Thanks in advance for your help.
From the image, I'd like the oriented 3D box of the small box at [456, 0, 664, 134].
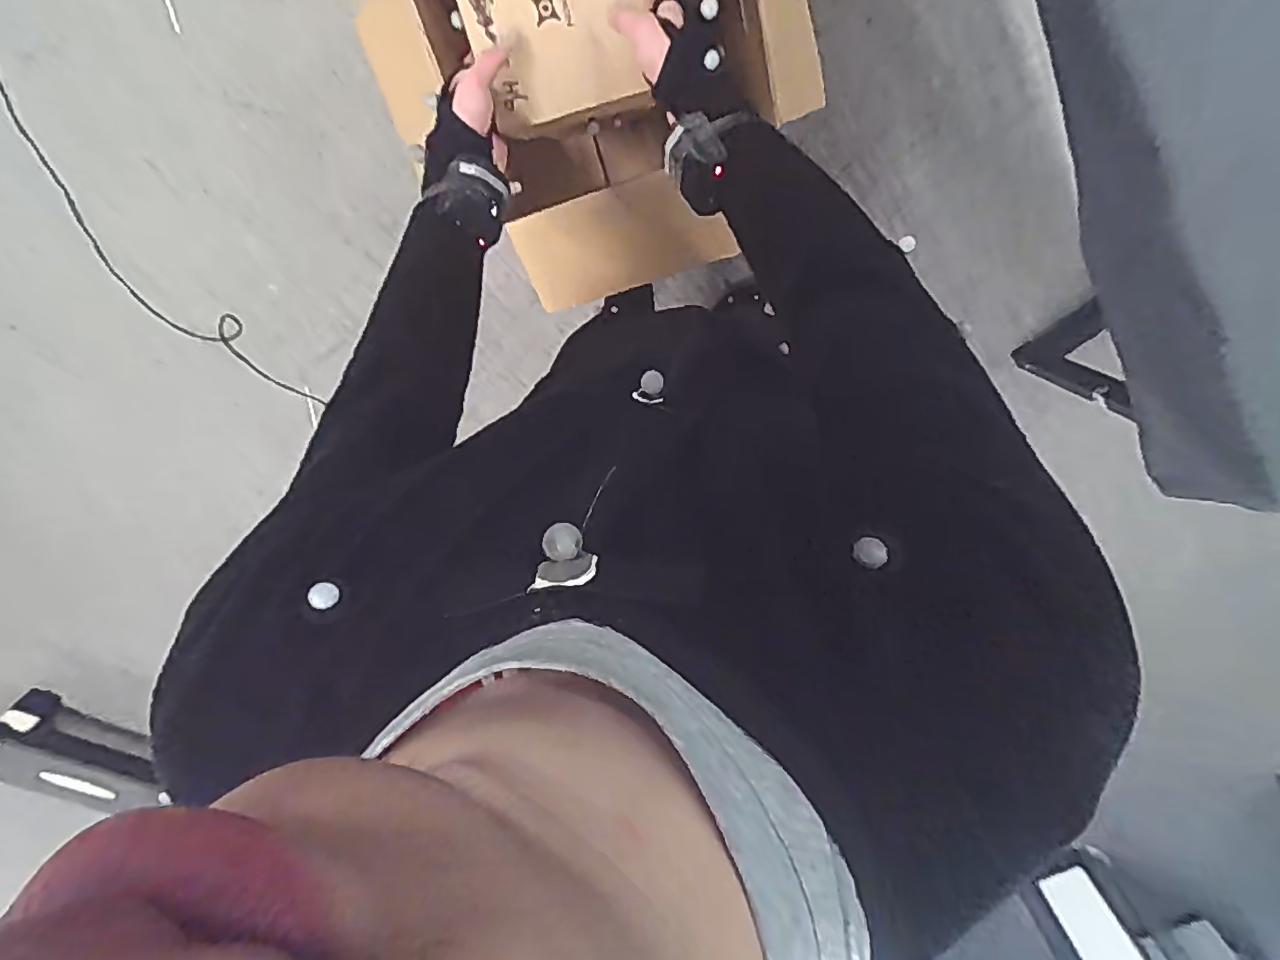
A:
[{"bbox_3d":[-0.080,-0.476,0.560,0.179,0.176,0.168,-12,120,6],"label":"small box"}]
